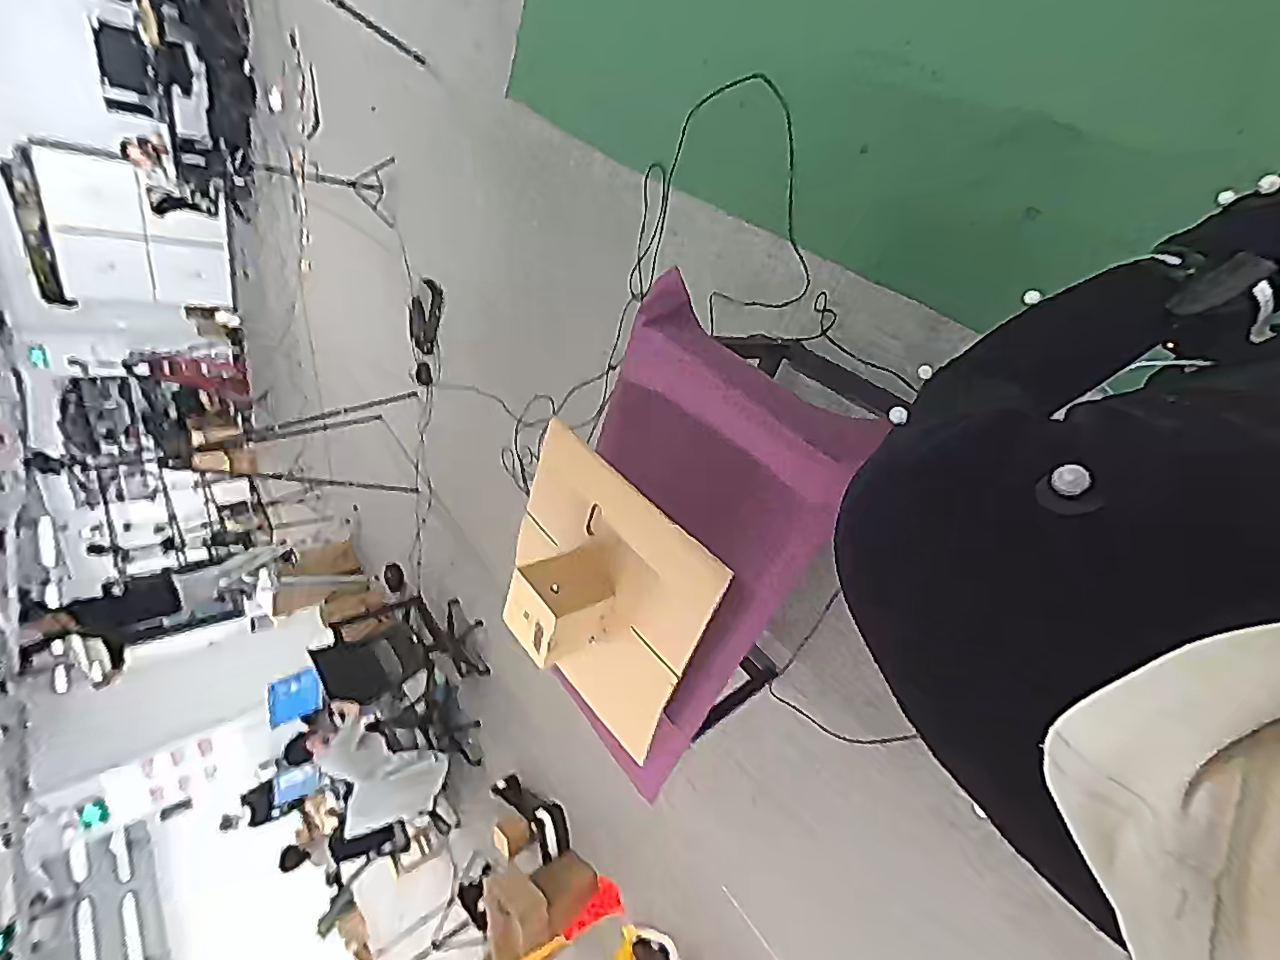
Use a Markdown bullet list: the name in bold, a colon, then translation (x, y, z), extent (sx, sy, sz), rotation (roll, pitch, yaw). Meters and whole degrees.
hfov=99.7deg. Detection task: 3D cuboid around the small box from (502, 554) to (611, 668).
- **small box**: translation (-0.194, 0.297, 1.266), extent (0.179, 0.176, 0.168), rotation (40, 124, 33)
